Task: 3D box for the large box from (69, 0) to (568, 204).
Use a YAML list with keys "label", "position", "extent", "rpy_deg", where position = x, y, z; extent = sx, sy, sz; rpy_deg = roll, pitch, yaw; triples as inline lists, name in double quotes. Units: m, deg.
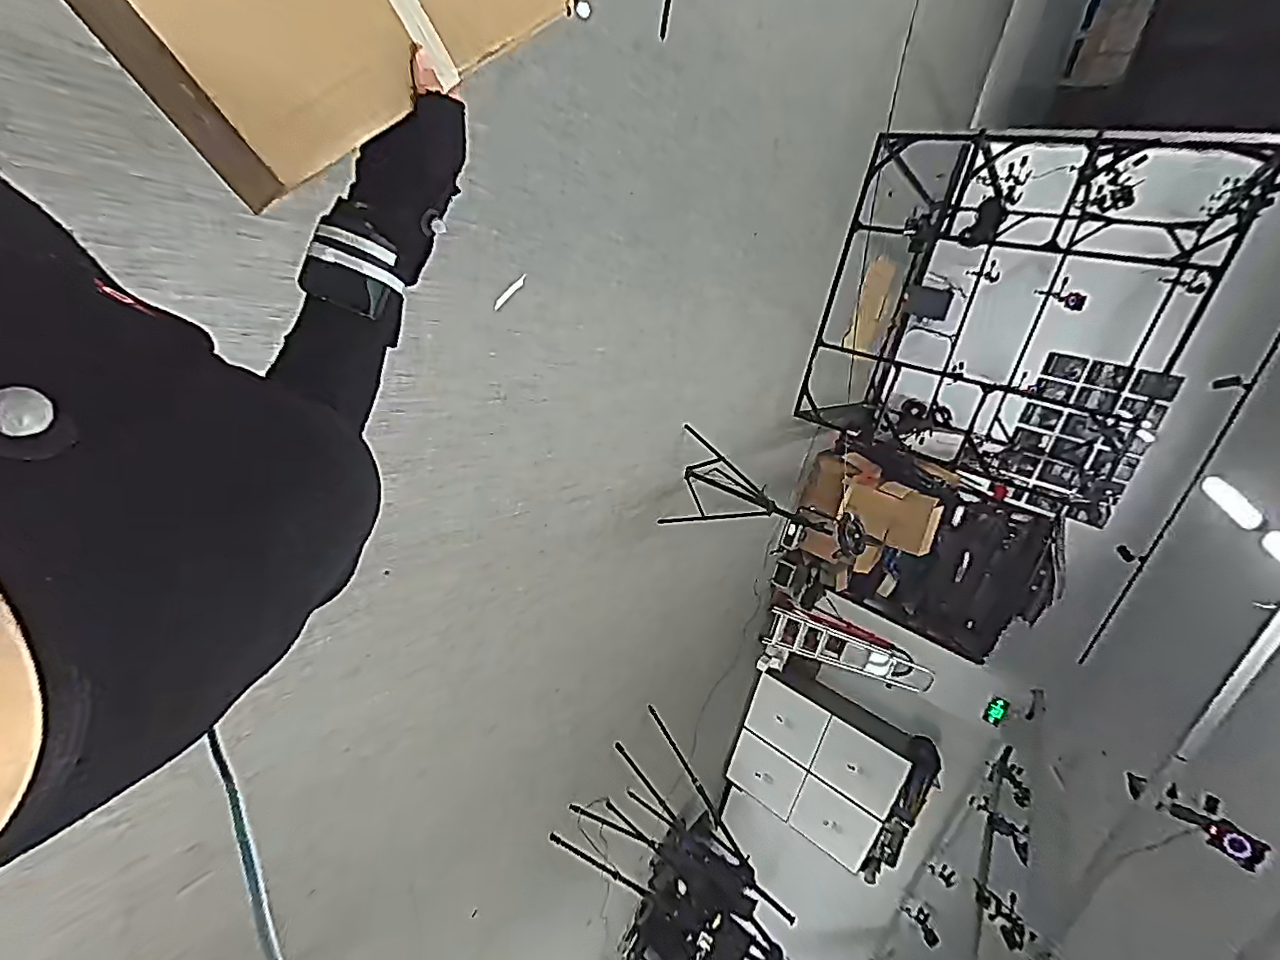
- label: "large box"
  position: [-0.340, -0.506, 0.436]
  extent: [0.320, 0.320, 0.408]
  rpy_deg: [-45, 130, -15]
